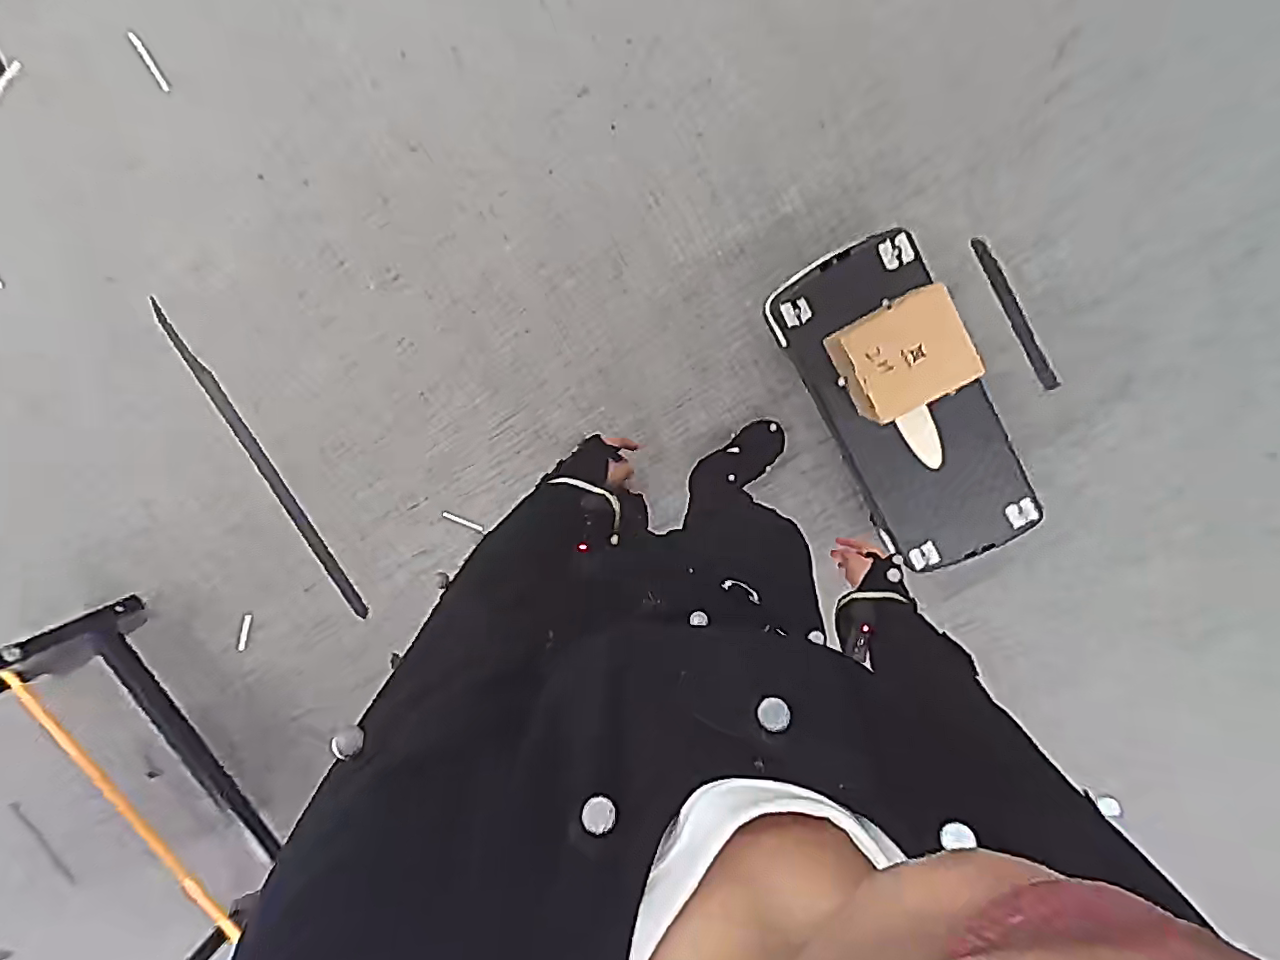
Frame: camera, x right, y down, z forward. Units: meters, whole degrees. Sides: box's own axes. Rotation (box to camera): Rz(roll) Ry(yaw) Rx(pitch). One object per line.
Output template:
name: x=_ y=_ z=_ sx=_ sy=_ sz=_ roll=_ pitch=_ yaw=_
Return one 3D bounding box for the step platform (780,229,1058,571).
step platform: x=0.567 y=-0.153 z=1.132 sx=0.286 sy=0.204 sz=0.684 roll=-29 pitch=96 yaw=14

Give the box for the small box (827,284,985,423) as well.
small box: x=0.455 y=-0.221 z=0.953 sx=0.179 sy=0.176 sz=0.168 roll=-27 pitch=97 yaw=15
